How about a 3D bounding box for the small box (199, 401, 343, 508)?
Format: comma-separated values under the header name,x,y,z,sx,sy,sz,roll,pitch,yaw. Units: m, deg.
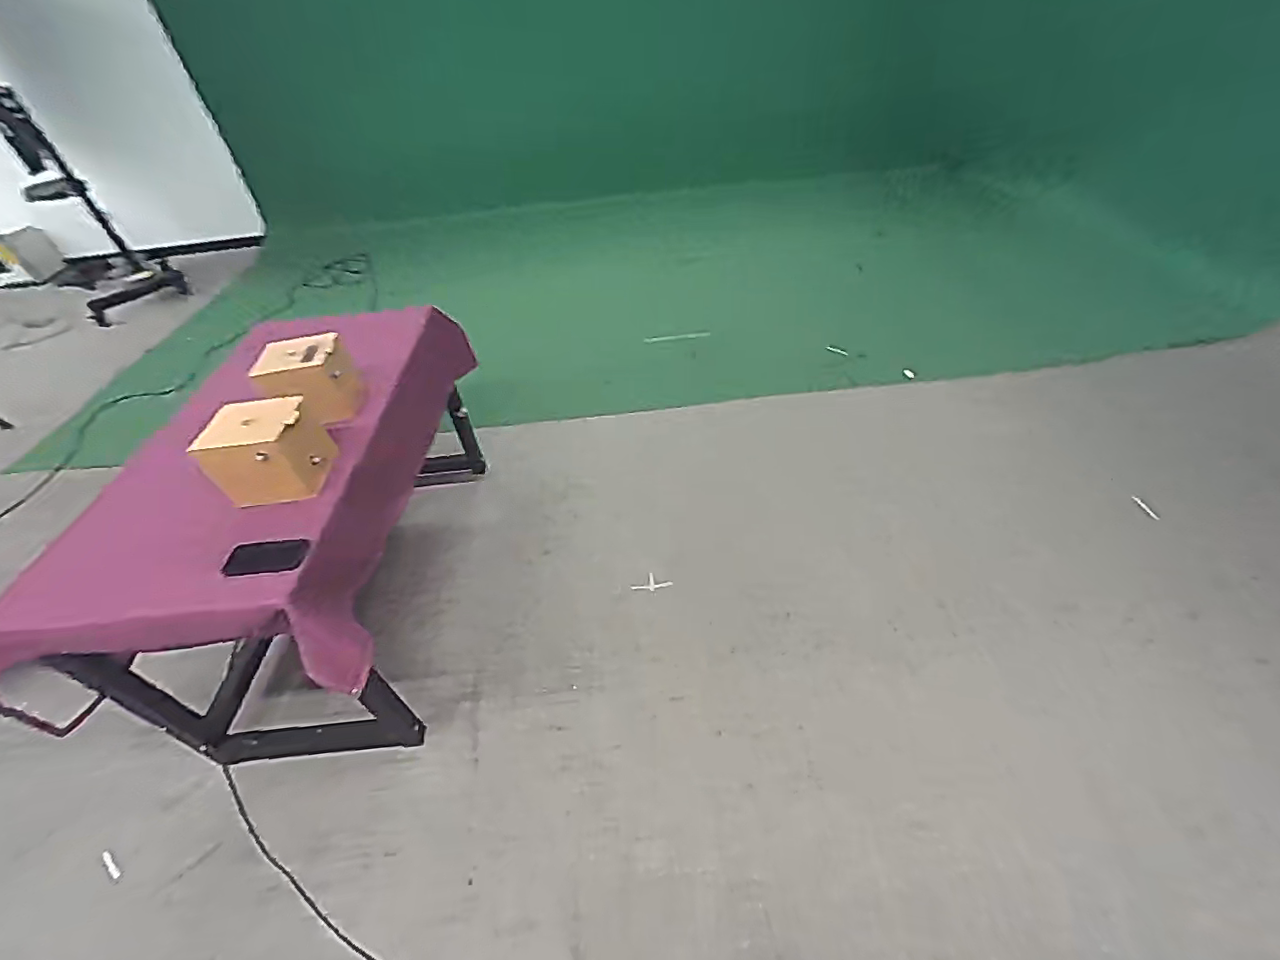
name,x,y,z,sx,sy,sz,roll,pitch,yaw
small box,-0.808,-0.053,1.205,0.179,0.176,0.168,-7,43,0
